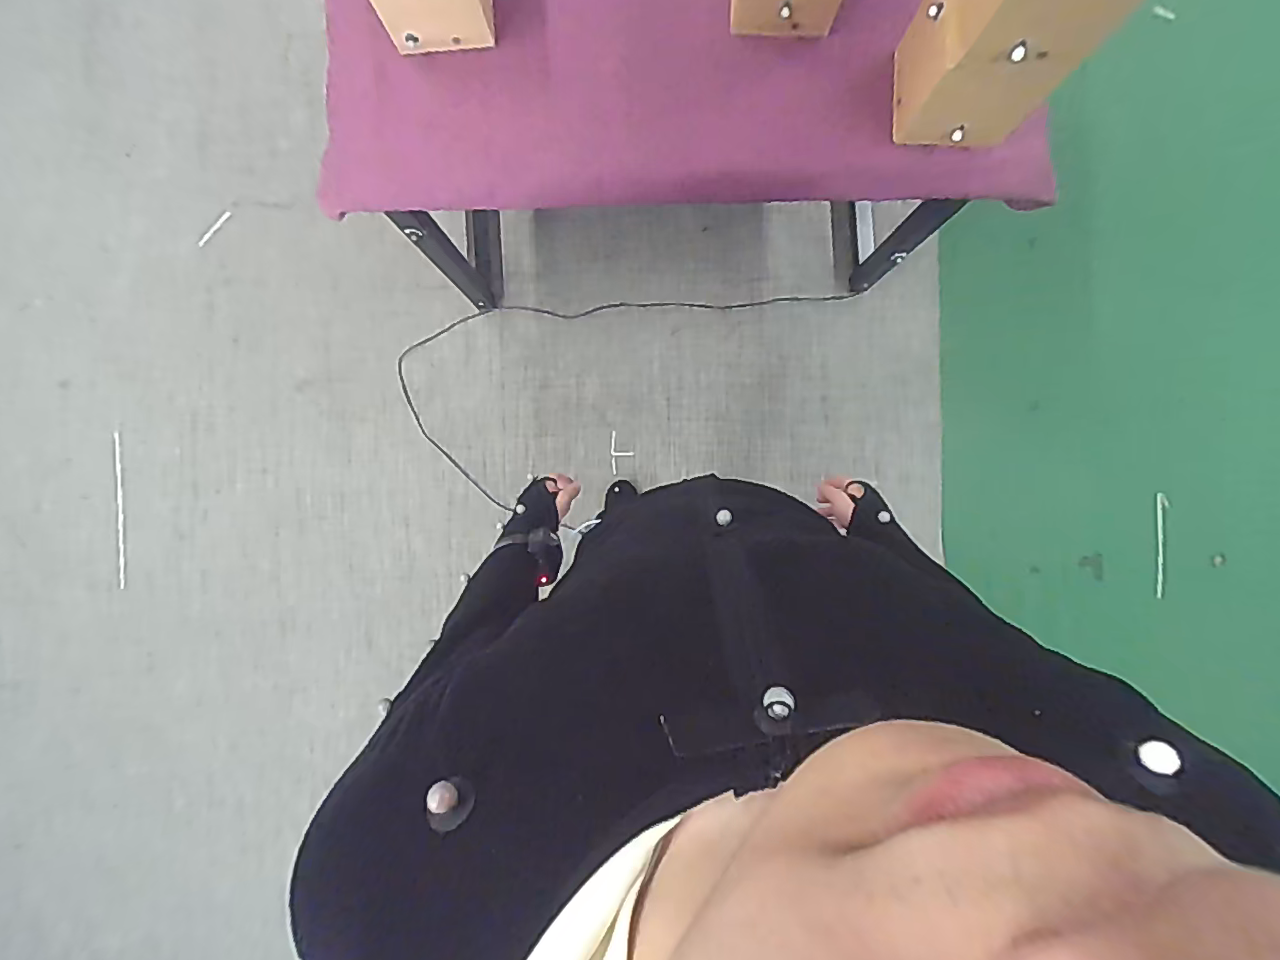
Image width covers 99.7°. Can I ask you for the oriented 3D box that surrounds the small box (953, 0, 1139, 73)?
[{"bbox_3d":[0.512,-0.653,0.666,0.168,0.176,0.179,2,89,3],"label":"small box"}]

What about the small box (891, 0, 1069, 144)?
[{"bbox_3d":[0.513,-0.647,0.830,0.179,0.176,0.168,2,89,1],"label":"small box"}]

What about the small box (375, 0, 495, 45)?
[{"bbox_3d":[-0.331,-0.818,0.838,0.168,0.176,0.179,-5,89,0],"label":"small box"}]

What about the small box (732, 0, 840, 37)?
[{"bbox_3d":[0.238,-0.841,0.834,0.168,0.176,0.179,2,90,1],"label":"small box"}]
